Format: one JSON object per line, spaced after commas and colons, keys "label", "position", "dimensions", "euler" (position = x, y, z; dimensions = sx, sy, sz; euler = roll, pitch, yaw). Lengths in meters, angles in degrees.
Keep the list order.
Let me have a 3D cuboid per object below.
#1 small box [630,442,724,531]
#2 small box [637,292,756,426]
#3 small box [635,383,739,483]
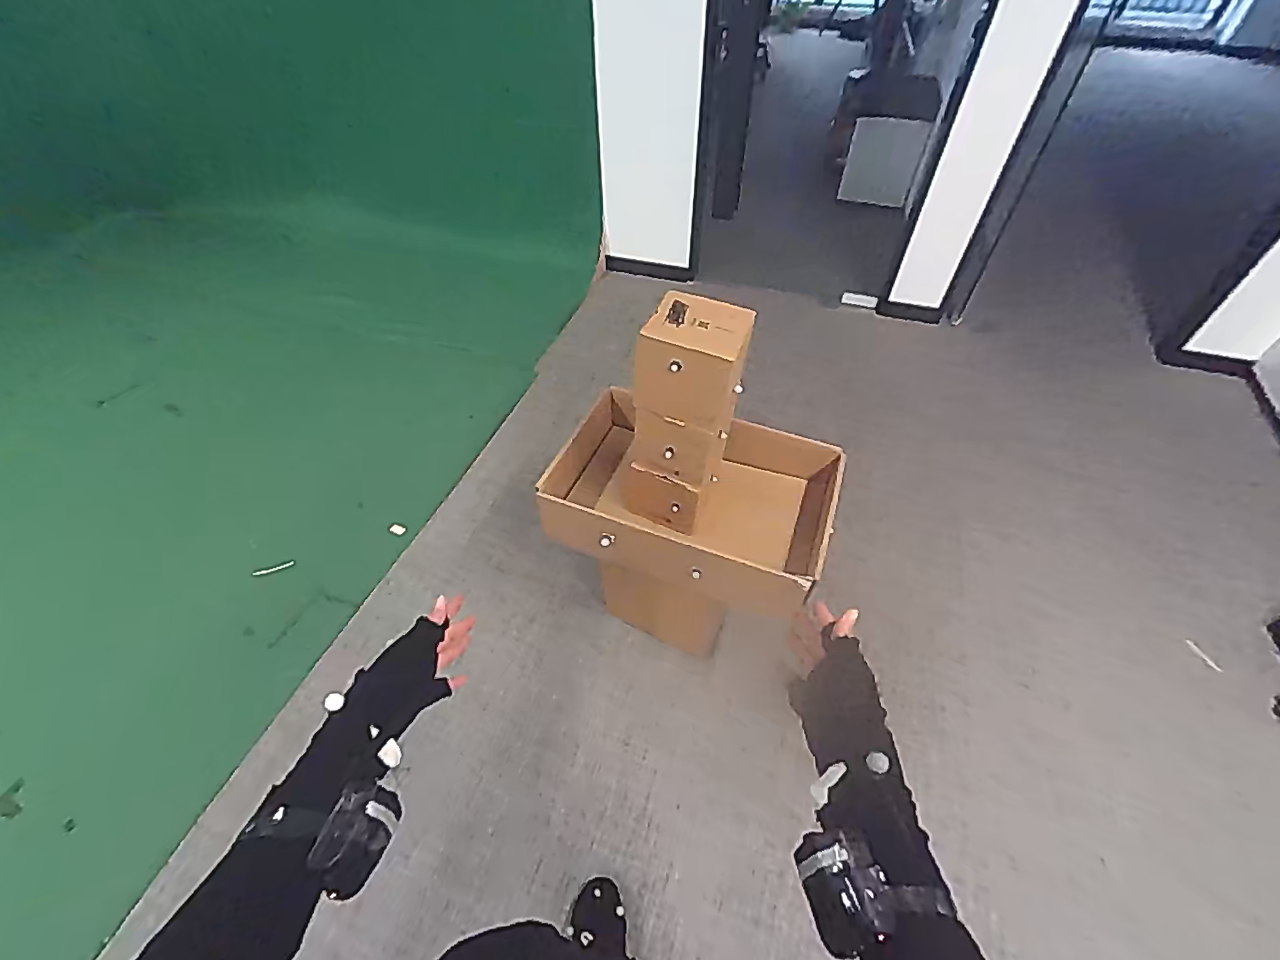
{"label": "small box", "position": [0.085, -0.010, 1.280], "dimensions": [0.168, 0.176, 0.179], "euler": [21, 50, 13]}
{"label": "small box", "position": [0.102, -0.228, 1.035], "dimensions": [0.179, 0.176, 0.168], "euler": [19, 51, 11]}
{"label": "small box", "position": [0.097, -0.123, 1.162], "dimensions": [0.168, 0.176, 0.179], "euler": [21, 52, 13]}
